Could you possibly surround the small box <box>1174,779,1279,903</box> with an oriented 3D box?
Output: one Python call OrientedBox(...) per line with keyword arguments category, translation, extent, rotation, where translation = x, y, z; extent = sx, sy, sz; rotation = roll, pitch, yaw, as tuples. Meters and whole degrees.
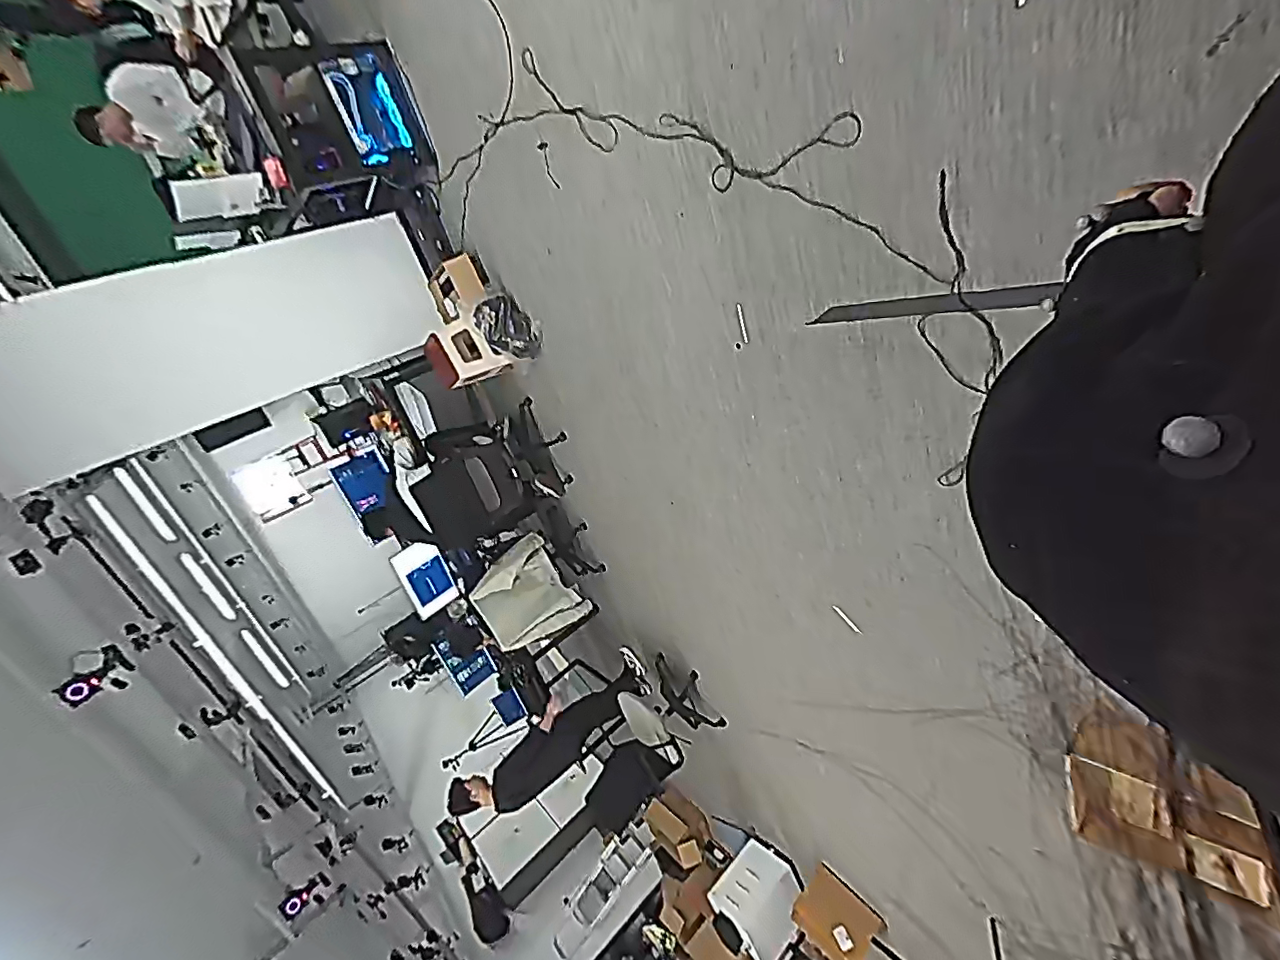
OrientedBox(category="small box", translation=(1.559, 0.948, 1.435), extent=(0.168, 0.176, 0.179), rotation=(-1, 118, 55))
